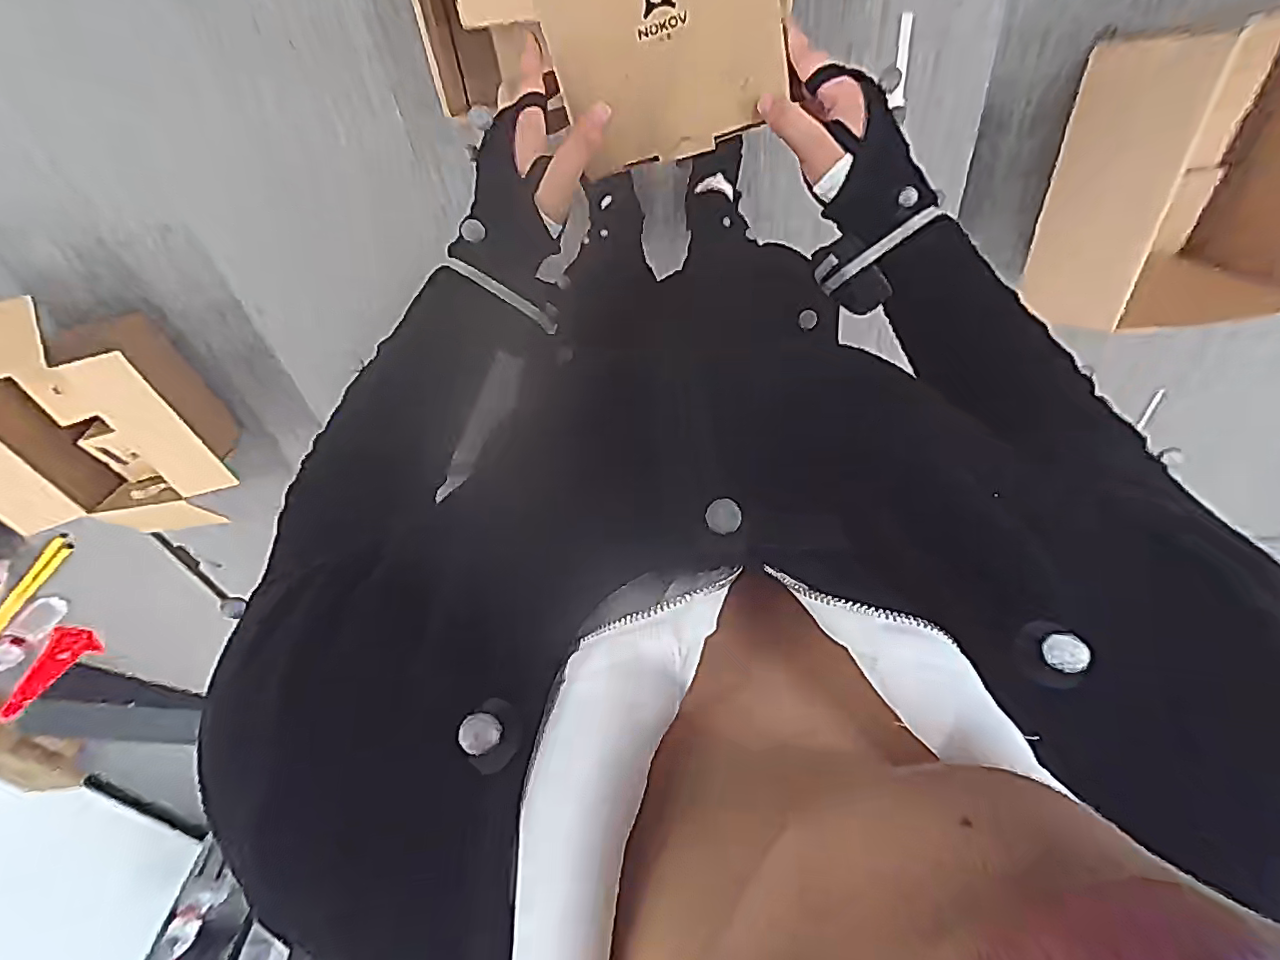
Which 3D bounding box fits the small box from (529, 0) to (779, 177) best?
[{"bbox_3d":[0.009,-0.378,0.450,0.168,0.176,0.179,-13,122,10],"label":"small box"}]
